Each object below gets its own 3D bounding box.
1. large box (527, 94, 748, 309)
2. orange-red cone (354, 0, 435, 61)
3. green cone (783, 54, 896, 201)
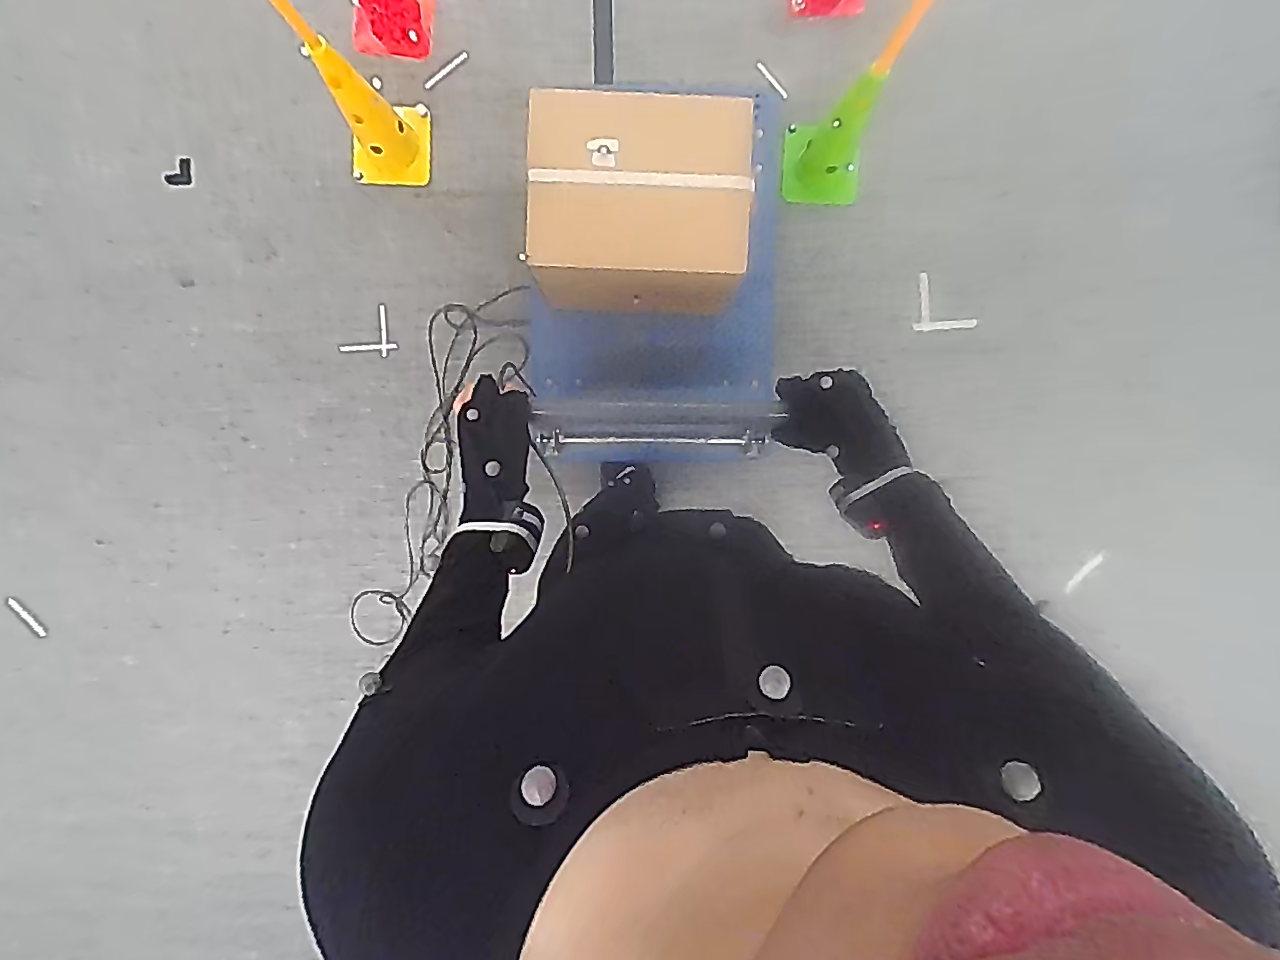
[{"bbox_3d":[-0.002,-0.549,1.129,0.408,0.320,0.320,2,93,0],"label":"large box"},{"bbox_3d":[-0.637,-1.202,1.241,0.198,0.360,0.199,6,91,-2],"label":"orange-red cone"},{"bbox_3d":[0.484,-0.838,1.261,0.202,0.368,0.200,2,93,-2],"label":"green cone"}]
